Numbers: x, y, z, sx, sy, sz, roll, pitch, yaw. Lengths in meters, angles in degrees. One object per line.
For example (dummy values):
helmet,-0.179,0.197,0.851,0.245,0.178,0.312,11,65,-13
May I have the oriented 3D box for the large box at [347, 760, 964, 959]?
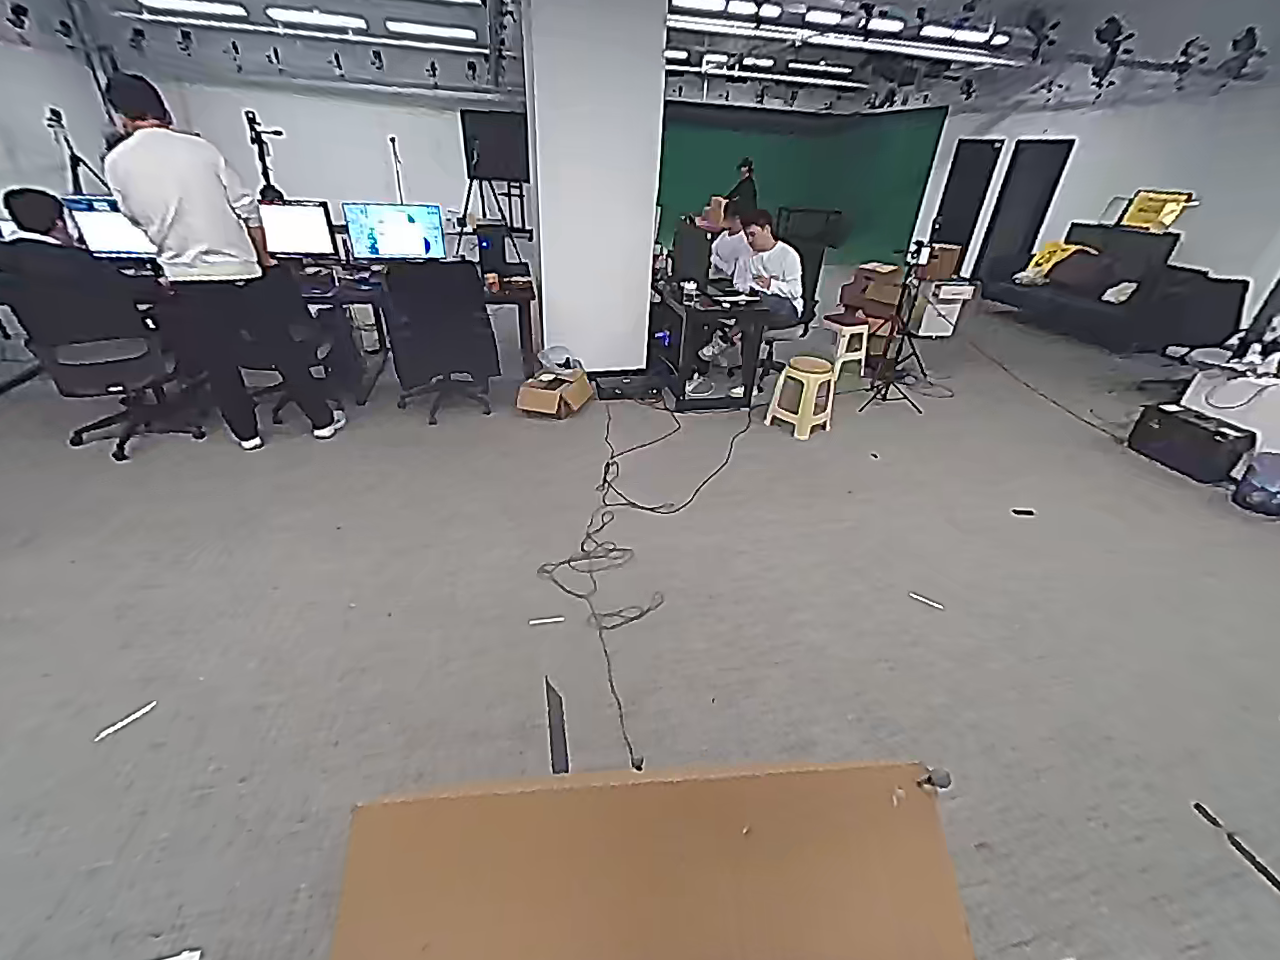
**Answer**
large box,0.009,0.426,0.456,0.408,0.320,0.320,-2,65,-5
